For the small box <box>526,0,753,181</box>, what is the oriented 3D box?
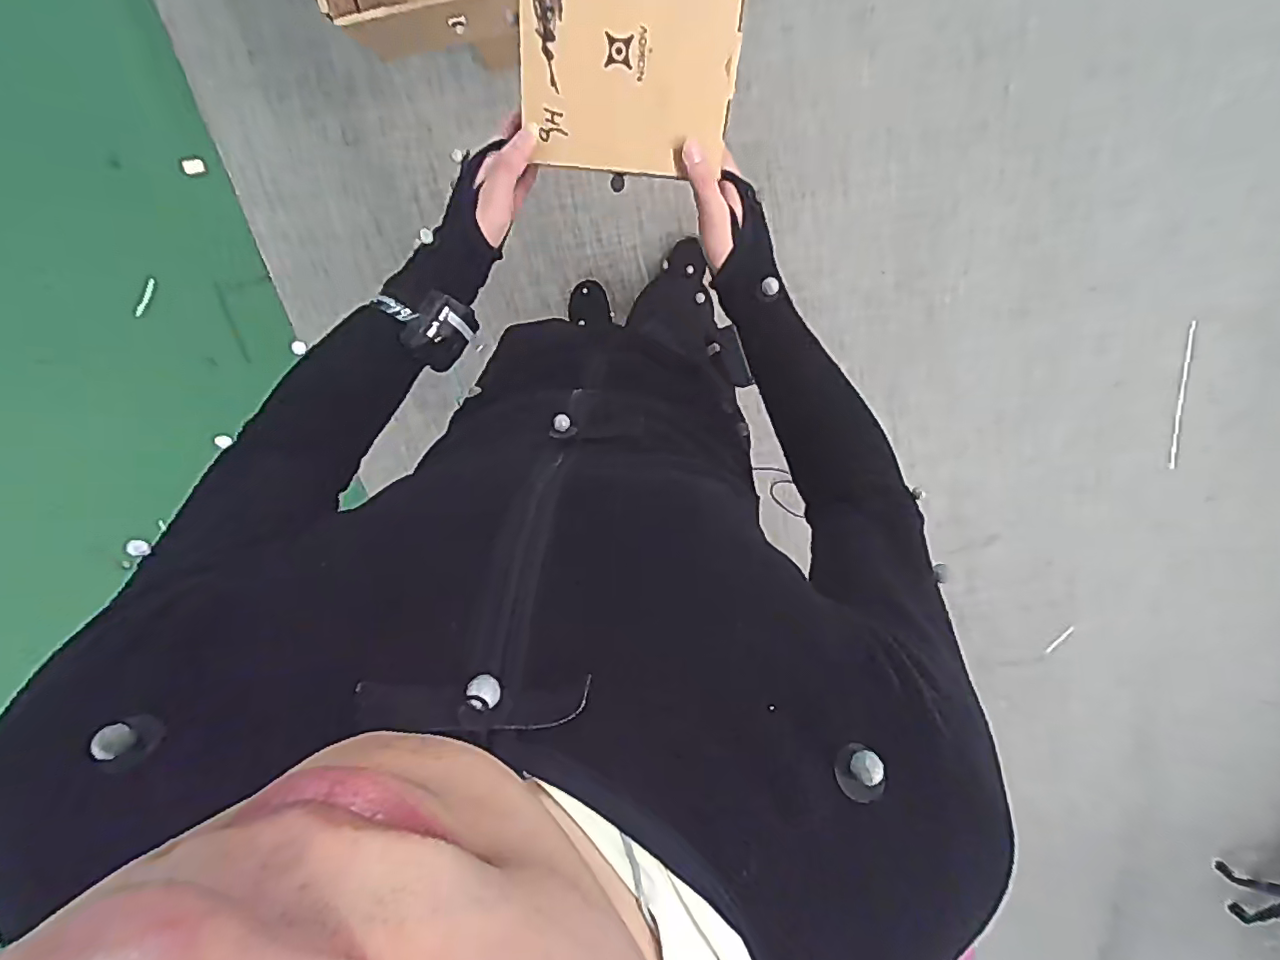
[{"bbox_3d":[-0.009,-0.378,0.495,0.179,0.176,0.168,2,118,-7],"label":"small box"}]
